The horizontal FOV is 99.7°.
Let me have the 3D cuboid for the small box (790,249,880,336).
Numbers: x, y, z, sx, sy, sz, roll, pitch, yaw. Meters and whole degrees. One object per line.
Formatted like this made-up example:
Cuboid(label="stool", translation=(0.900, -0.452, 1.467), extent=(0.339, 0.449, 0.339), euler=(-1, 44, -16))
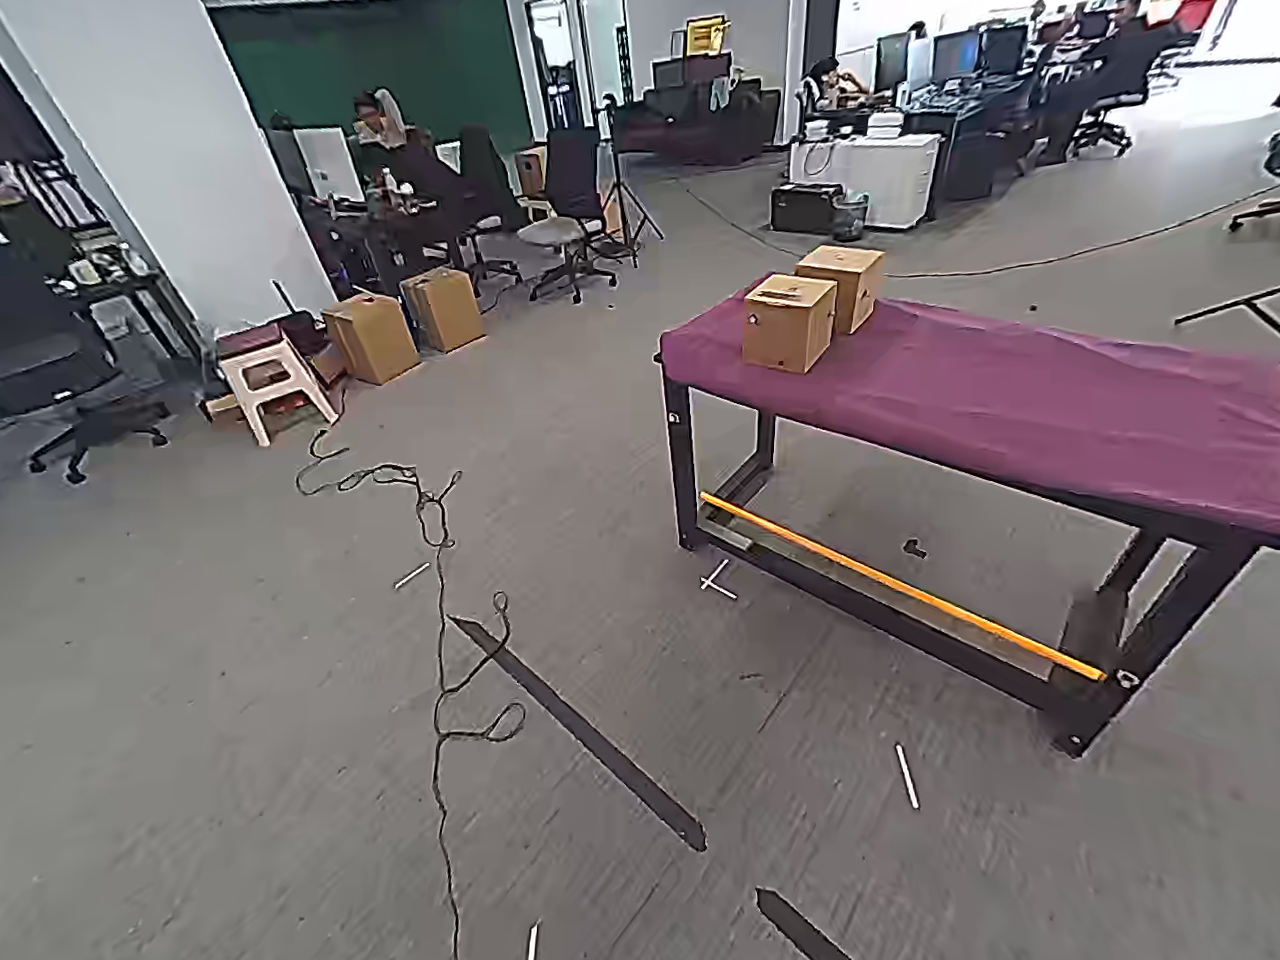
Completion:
Cuboid(label="small box", translation=(0.525, -0.508, 1.471), extent=(0.179, 0.176, 0.168), euler=(22, 47, 31))
